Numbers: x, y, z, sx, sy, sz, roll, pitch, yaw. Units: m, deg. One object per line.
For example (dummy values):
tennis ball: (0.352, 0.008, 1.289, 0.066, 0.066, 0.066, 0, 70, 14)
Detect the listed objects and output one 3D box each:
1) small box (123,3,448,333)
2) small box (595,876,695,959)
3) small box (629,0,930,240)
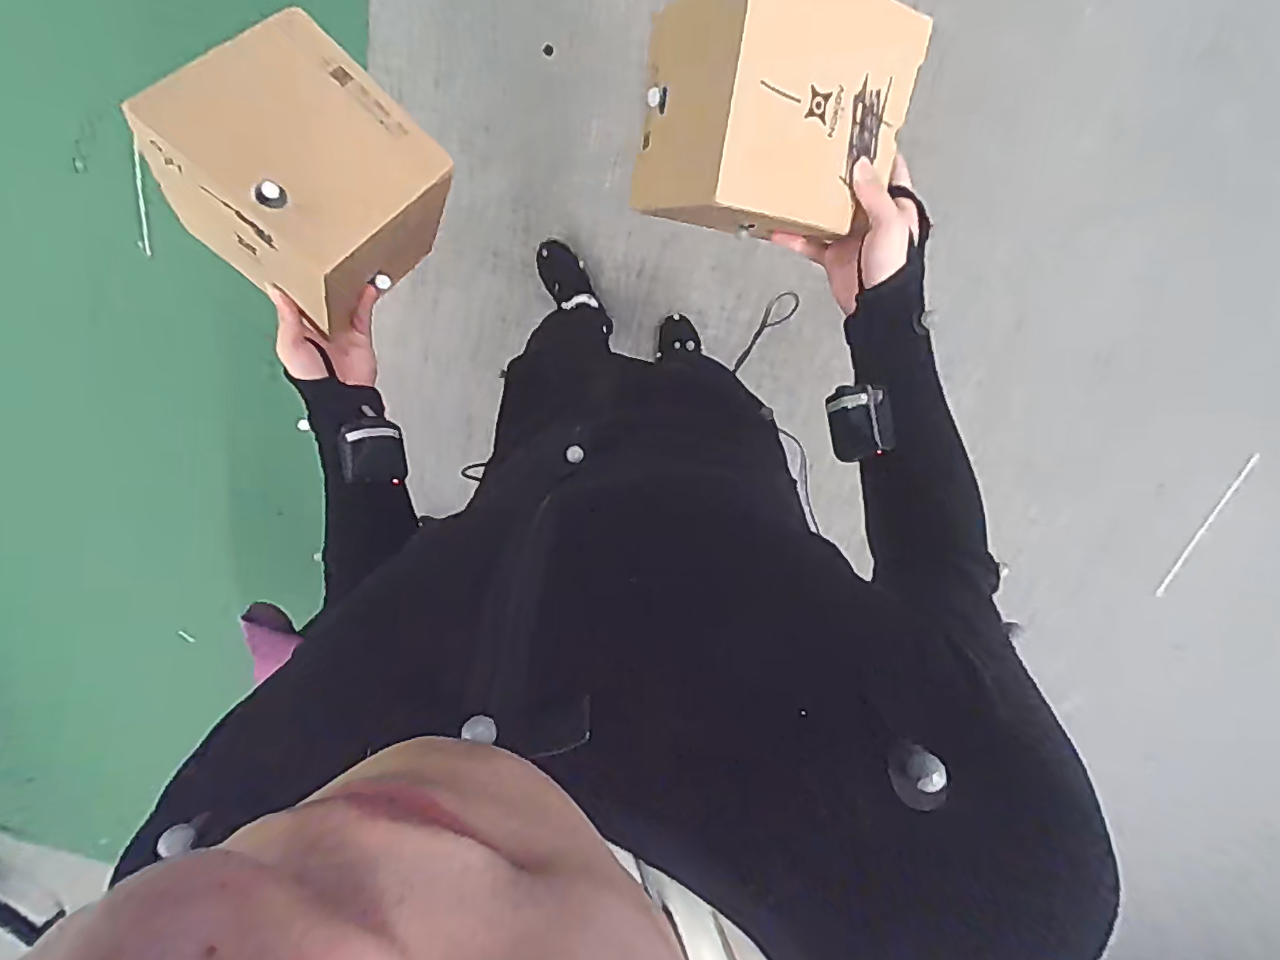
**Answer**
small box: (-0.307, -0.278, 0.512, 0.168, 0.179, 0.176, 41, 67, -18)
small box: (0.004, 0.876, 0.984, 0.168, 0.176, 0.179, 13, 112, 3)
small box: (0.109, -0.323, 0.489, 0.179, 0.176, 0.168, 0, 112, -24)
